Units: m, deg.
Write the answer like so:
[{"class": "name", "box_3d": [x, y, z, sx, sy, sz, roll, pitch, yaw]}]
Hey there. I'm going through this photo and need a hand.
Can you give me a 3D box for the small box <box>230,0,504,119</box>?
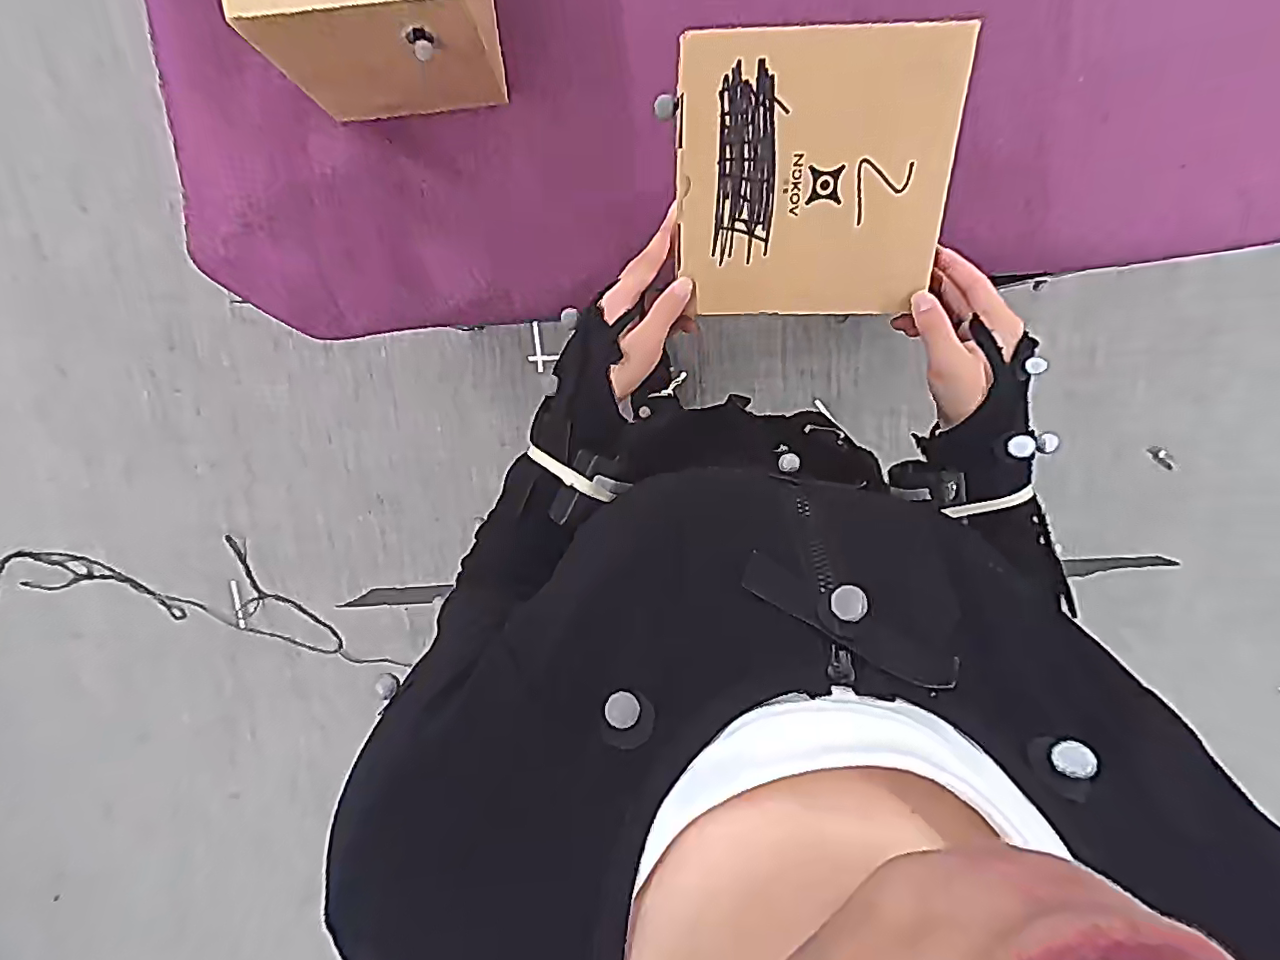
[{"class": "small box", "box_3d": [-0.221, -0.437, 0.457, 0.179, 0.176, 0.168, -7, 101, -1]}]
